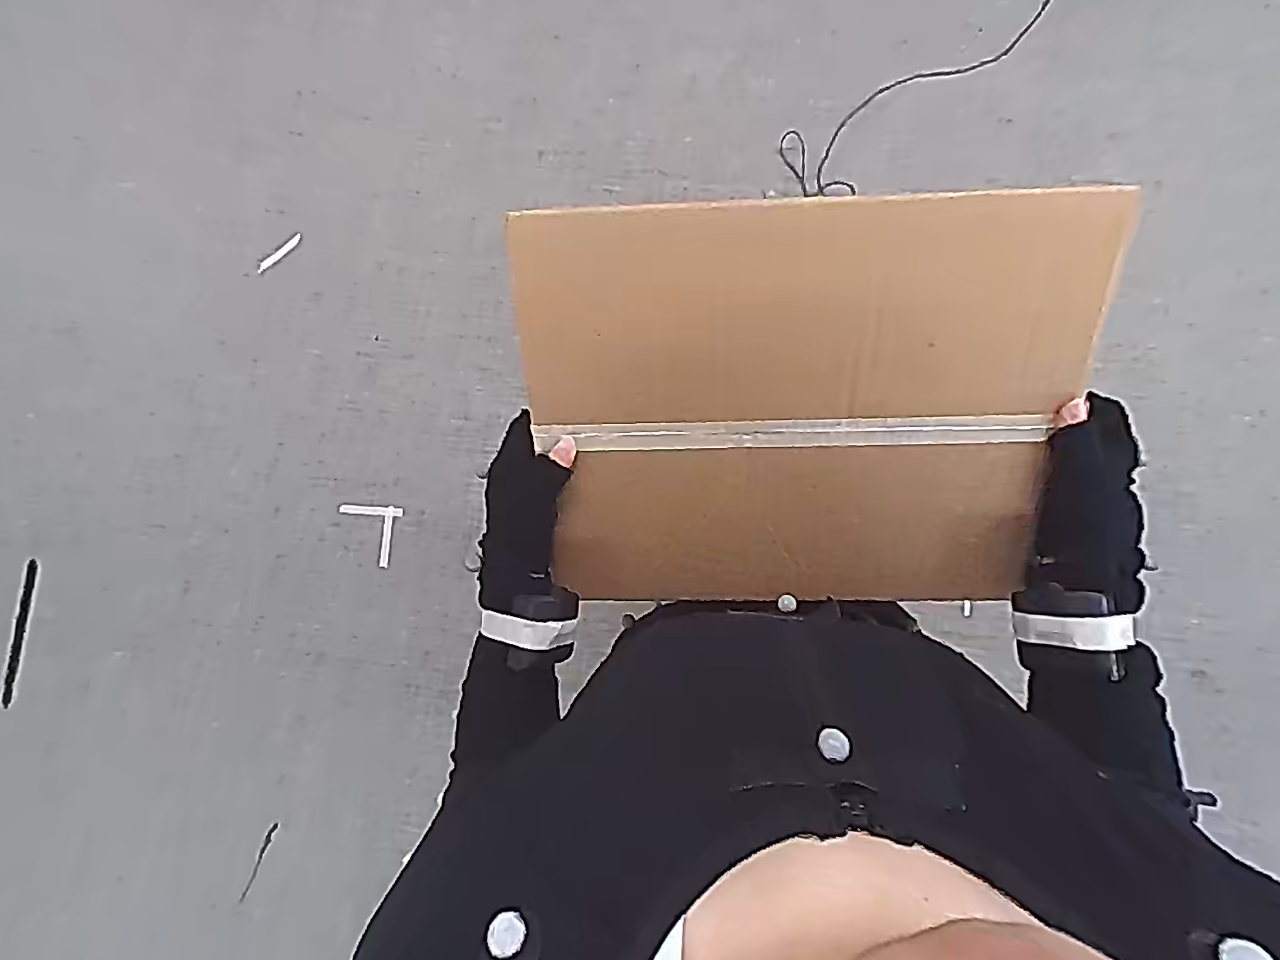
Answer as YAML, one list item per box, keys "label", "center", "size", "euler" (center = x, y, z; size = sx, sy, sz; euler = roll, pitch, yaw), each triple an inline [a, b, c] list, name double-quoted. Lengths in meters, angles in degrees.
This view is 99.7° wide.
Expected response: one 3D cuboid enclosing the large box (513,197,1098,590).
- label: "large box"
  center: [0.122, -0.103, 0.564]
  size: [0.408, 0.320, 0.320]
  euler: [-1, 114, 4]
